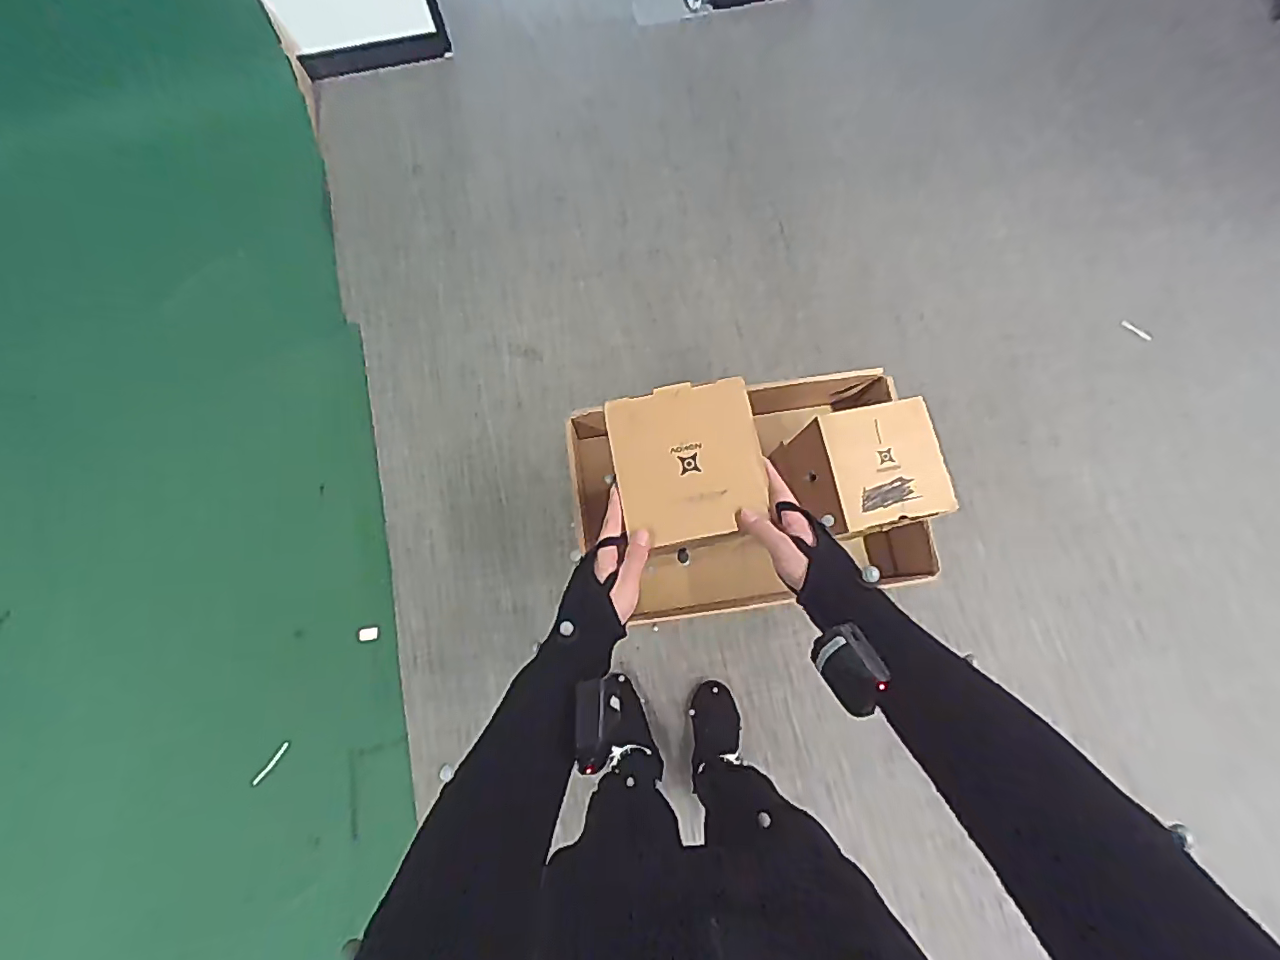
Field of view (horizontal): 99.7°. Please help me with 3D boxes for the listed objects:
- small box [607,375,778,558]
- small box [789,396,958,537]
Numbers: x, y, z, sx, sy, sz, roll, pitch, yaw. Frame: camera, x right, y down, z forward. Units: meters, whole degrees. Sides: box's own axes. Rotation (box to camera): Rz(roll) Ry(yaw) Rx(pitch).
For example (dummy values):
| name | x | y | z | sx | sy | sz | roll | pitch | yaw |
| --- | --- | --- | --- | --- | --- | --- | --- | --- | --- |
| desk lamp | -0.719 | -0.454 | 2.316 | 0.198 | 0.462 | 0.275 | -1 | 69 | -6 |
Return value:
| name | x | y | z | sx | sy | sz | roll | pitch | yaw |
| --- | --- | --- | --- | --- | --- | --- | --- | --- | --- |
| small box | 0.054 | -0.007 | 0.673 | 0.168 | 0.176 | 0.179 | -10 | 78 | -1 |
| small box | 0.352 | -0.010 | 0.849 | 0.168 | 0.176 | 0.179 | -10 | 78 | -3 |
